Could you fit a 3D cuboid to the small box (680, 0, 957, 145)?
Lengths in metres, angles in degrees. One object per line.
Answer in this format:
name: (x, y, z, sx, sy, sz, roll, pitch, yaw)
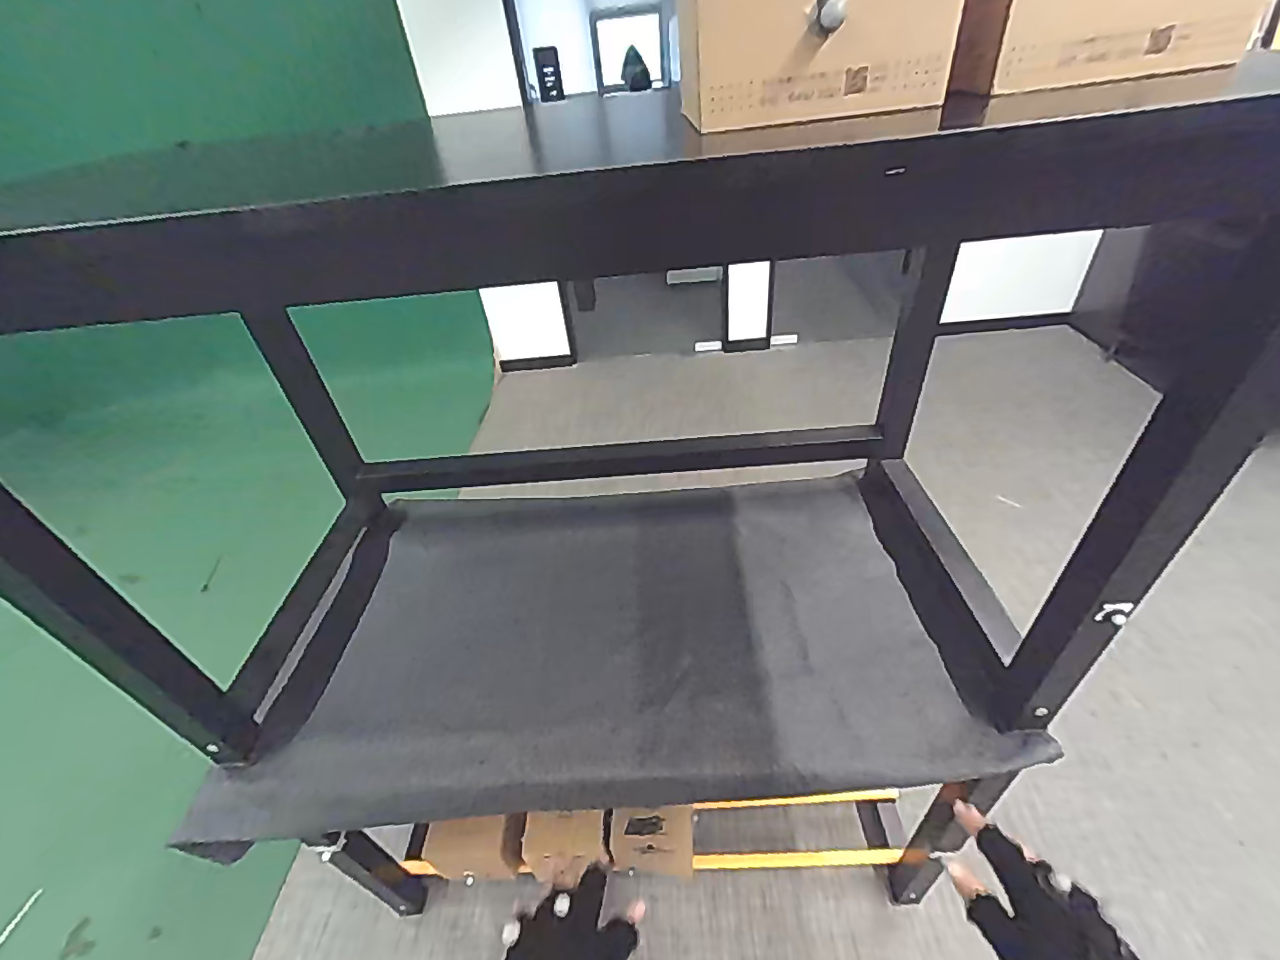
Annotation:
small box: (0.114, -0.355, 0.393, 0.168, 0.176, 0.179, -5, 39, 4)
